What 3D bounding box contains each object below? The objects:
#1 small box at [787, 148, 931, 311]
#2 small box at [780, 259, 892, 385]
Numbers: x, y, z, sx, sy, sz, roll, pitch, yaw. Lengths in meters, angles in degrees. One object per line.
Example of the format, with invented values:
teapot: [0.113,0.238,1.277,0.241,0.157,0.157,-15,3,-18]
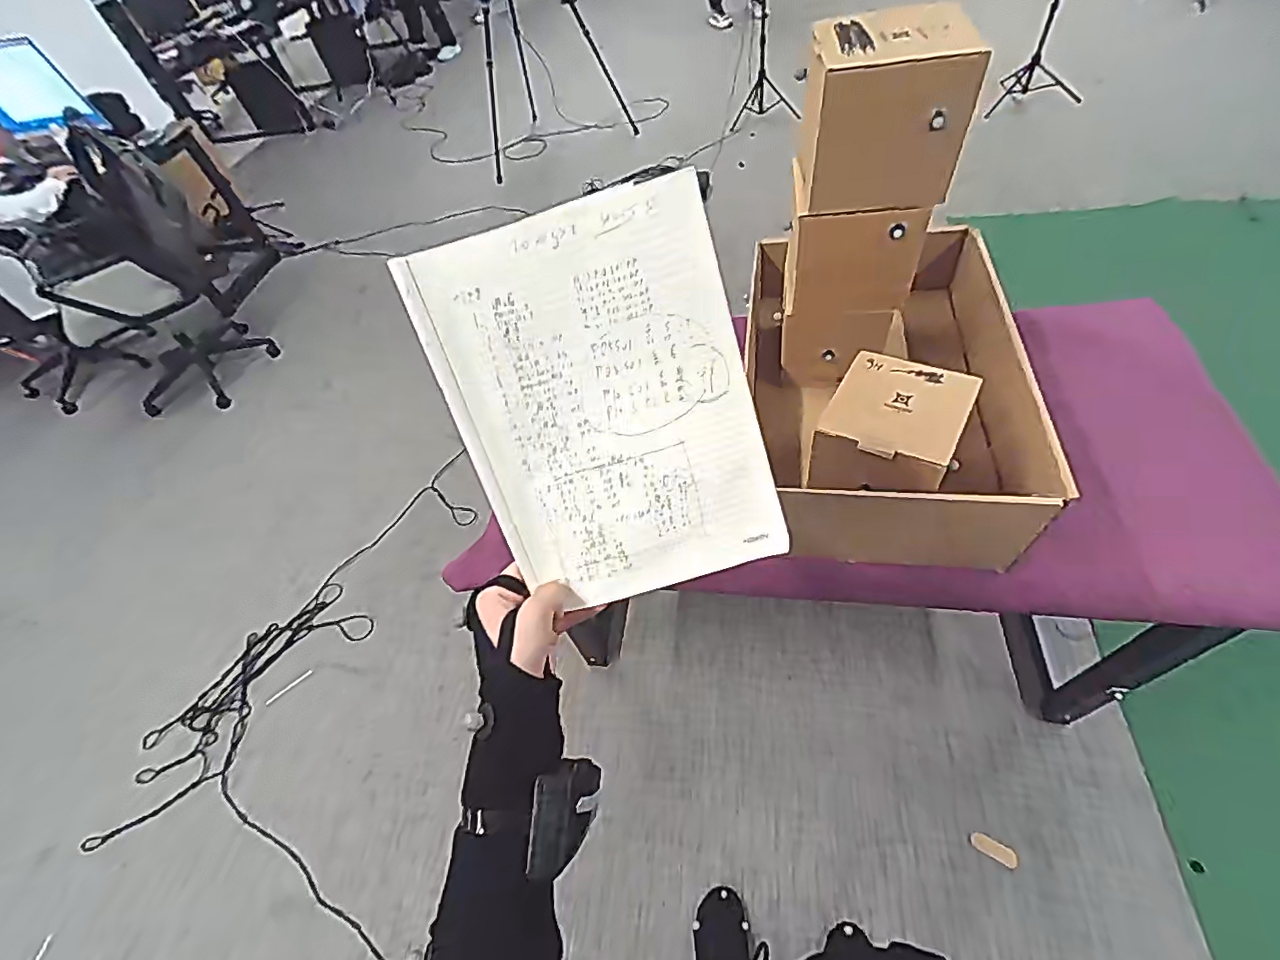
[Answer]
small box: [0.320,-0.377,0.832,0.179,0.176,0.168,1,55,11]
small box: [0.340,-0.286,0.964,0.168,0.176,0.179,3,56,13]
